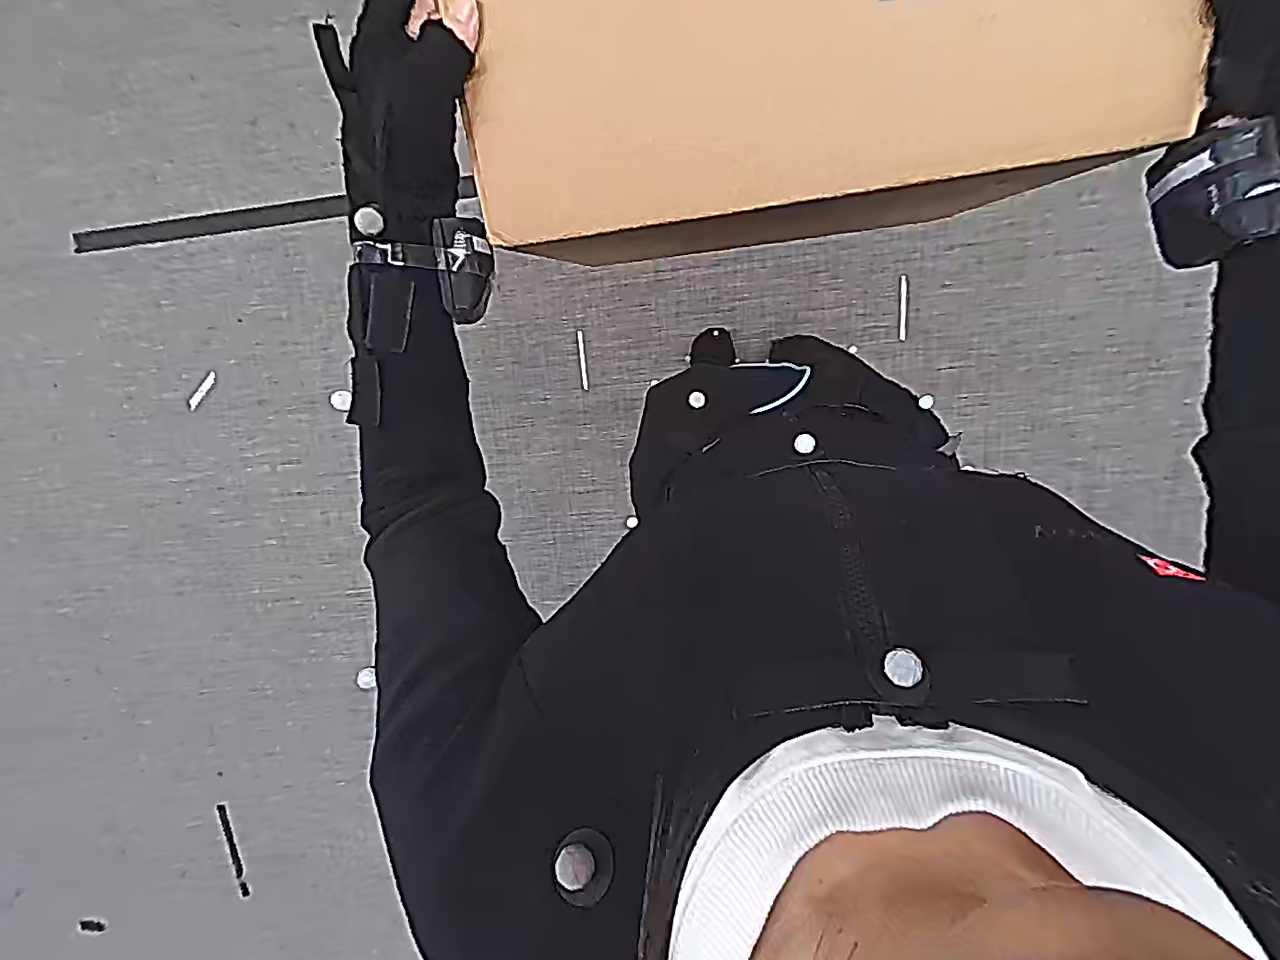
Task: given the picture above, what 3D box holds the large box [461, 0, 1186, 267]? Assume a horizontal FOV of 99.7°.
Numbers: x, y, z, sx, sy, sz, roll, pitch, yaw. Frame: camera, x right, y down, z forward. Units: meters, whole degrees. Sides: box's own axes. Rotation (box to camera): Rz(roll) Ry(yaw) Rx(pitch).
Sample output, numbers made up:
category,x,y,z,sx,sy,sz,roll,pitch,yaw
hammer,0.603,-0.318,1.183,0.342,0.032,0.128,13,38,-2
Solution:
category,x,y,z,sx,sy,sz,roll,pitch,yaw
large box,0.099,-0.371,0.432,0.408,0.320,0.320,-5,108,8
